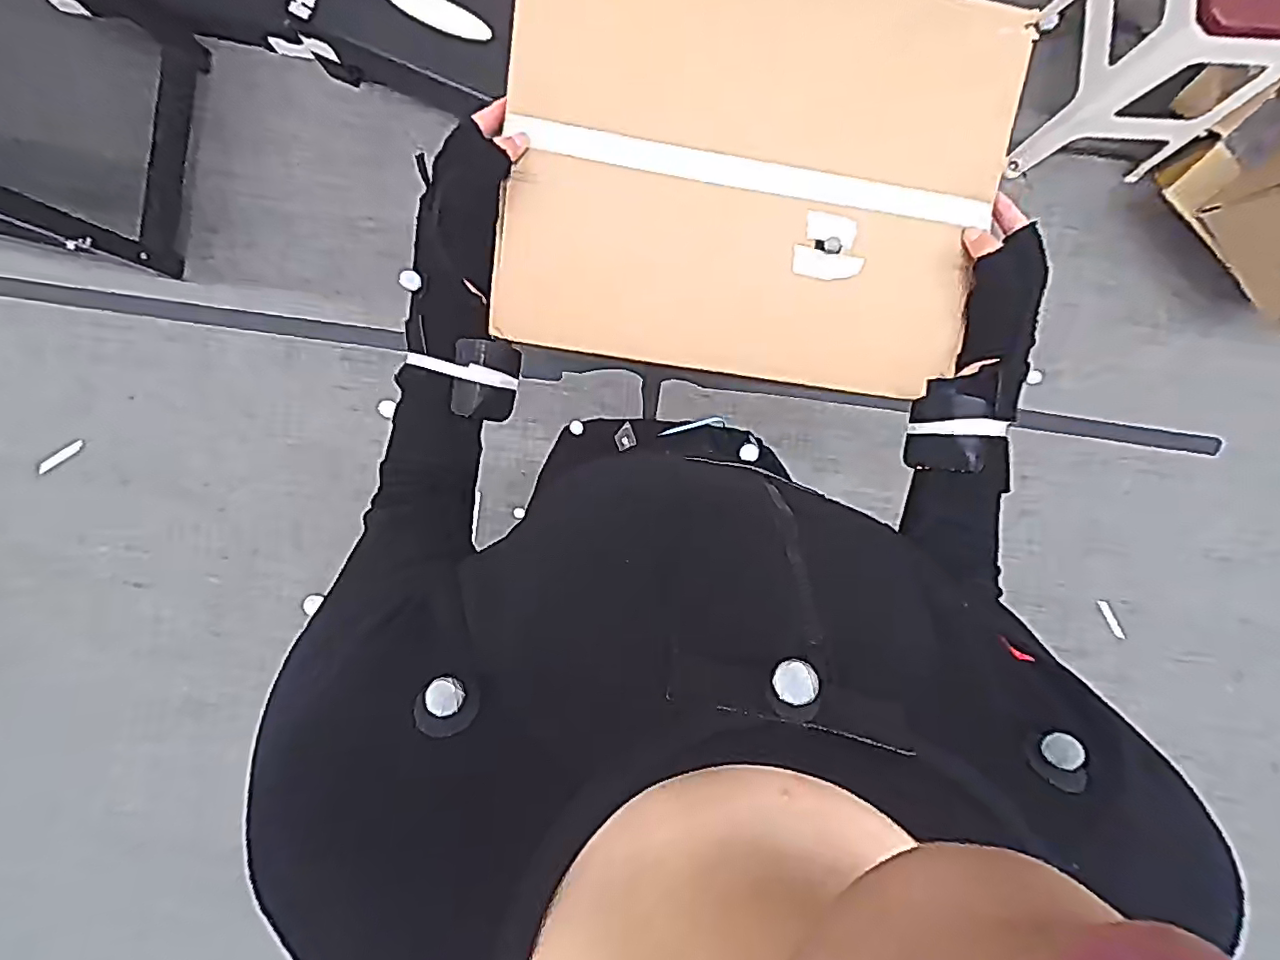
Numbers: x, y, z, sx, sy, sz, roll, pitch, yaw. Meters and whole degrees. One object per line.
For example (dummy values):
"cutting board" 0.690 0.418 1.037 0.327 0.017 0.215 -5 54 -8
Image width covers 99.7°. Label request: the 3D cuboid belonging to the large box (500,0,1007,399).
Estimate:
"large box" 0.078 -0.272 0.599 0.408 0.320 0.320 7 101 -7
